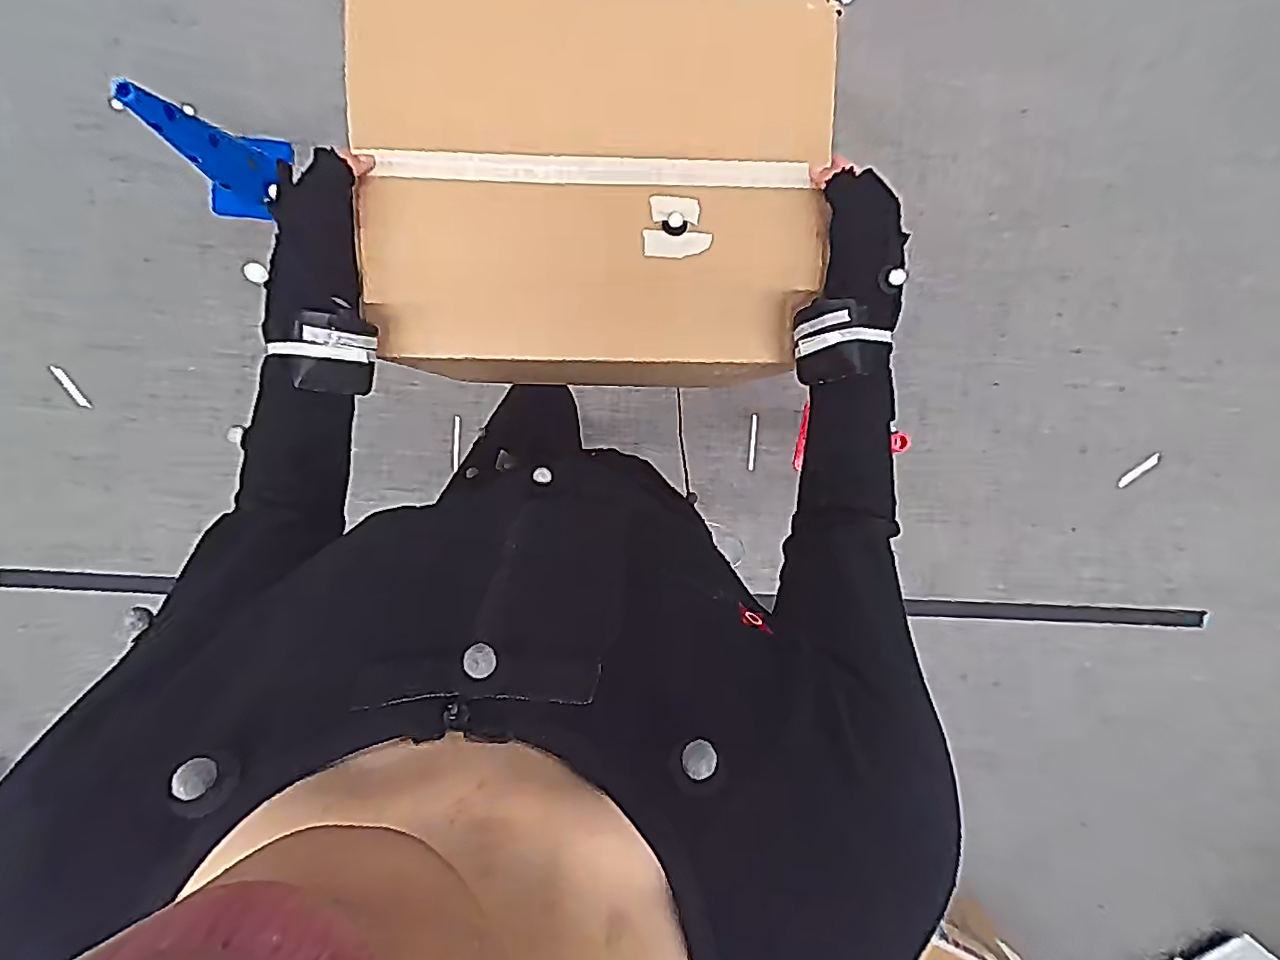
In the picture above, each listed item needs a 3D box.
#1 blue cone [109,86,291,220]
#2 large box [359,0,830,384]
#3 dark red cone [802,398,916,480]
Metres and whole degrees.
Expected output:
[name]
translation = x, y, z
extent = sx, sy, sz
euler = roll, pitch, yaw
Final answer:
[blue cone]
translation = -0.994, -0.755, 1.224
extent = 0.192, 0.380, 0.193
euler = 6, 94, -1
[large box]
translation = -0.044, -0.280, 0.614
extent = 0.408, 0.320, 0.320
euler = 0, 96, -4
[dark red cone]
translation = 0.538, -0.093, 1.274
extent = 0.201, 0.394, 0.202
euler = 9, 94, -1
